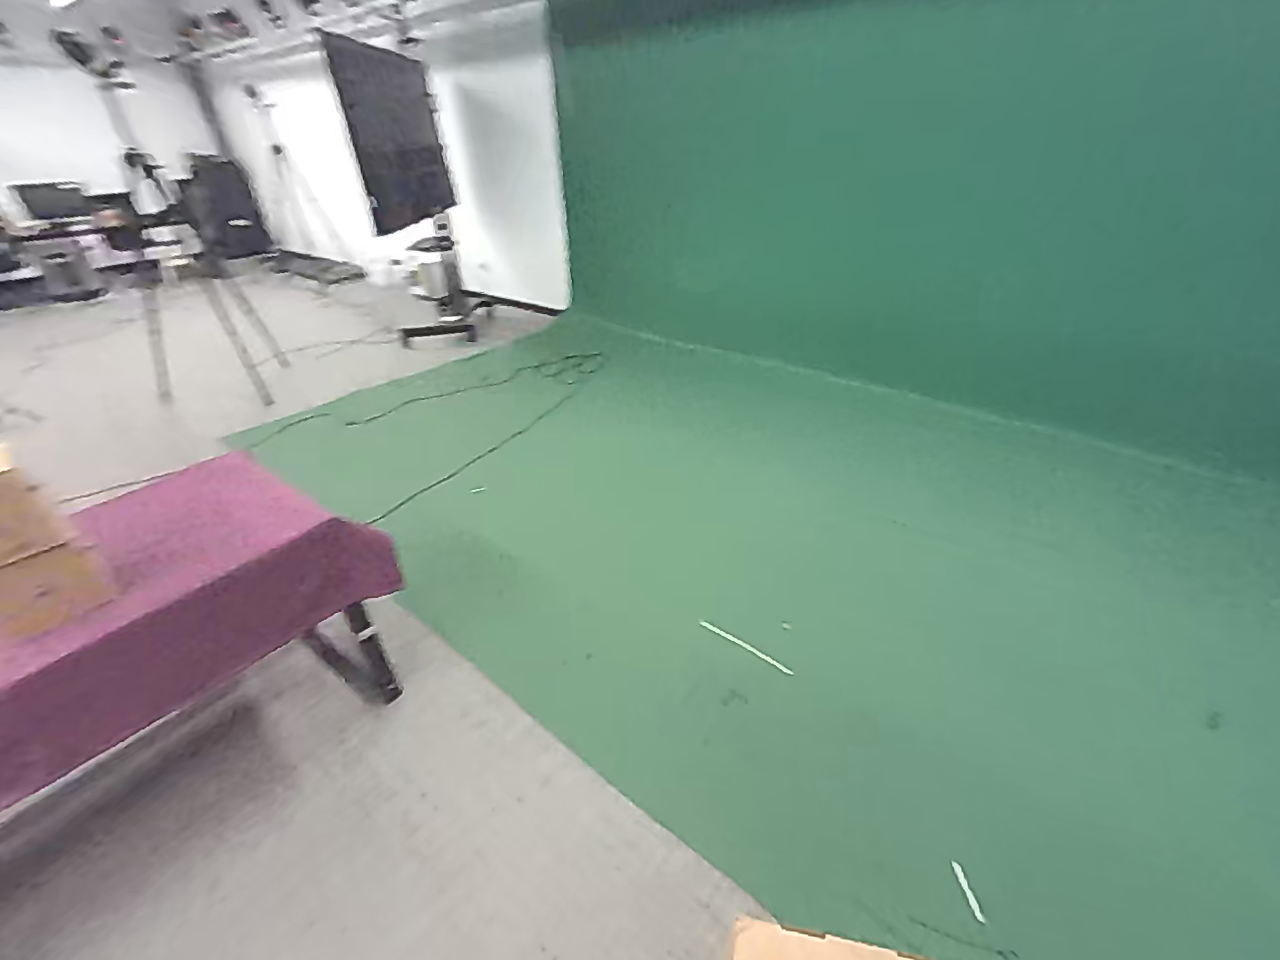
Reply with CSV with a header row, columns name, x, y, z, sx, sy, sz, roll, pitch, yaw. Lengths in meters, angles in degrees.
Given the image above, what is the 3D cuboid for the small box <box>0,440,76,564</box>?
name,x,y,z,sx,sy,sz,roll,pitch,yaw
small box,-1.229,0.052,1.025,0.179,0.176,0.168,26,42,35
